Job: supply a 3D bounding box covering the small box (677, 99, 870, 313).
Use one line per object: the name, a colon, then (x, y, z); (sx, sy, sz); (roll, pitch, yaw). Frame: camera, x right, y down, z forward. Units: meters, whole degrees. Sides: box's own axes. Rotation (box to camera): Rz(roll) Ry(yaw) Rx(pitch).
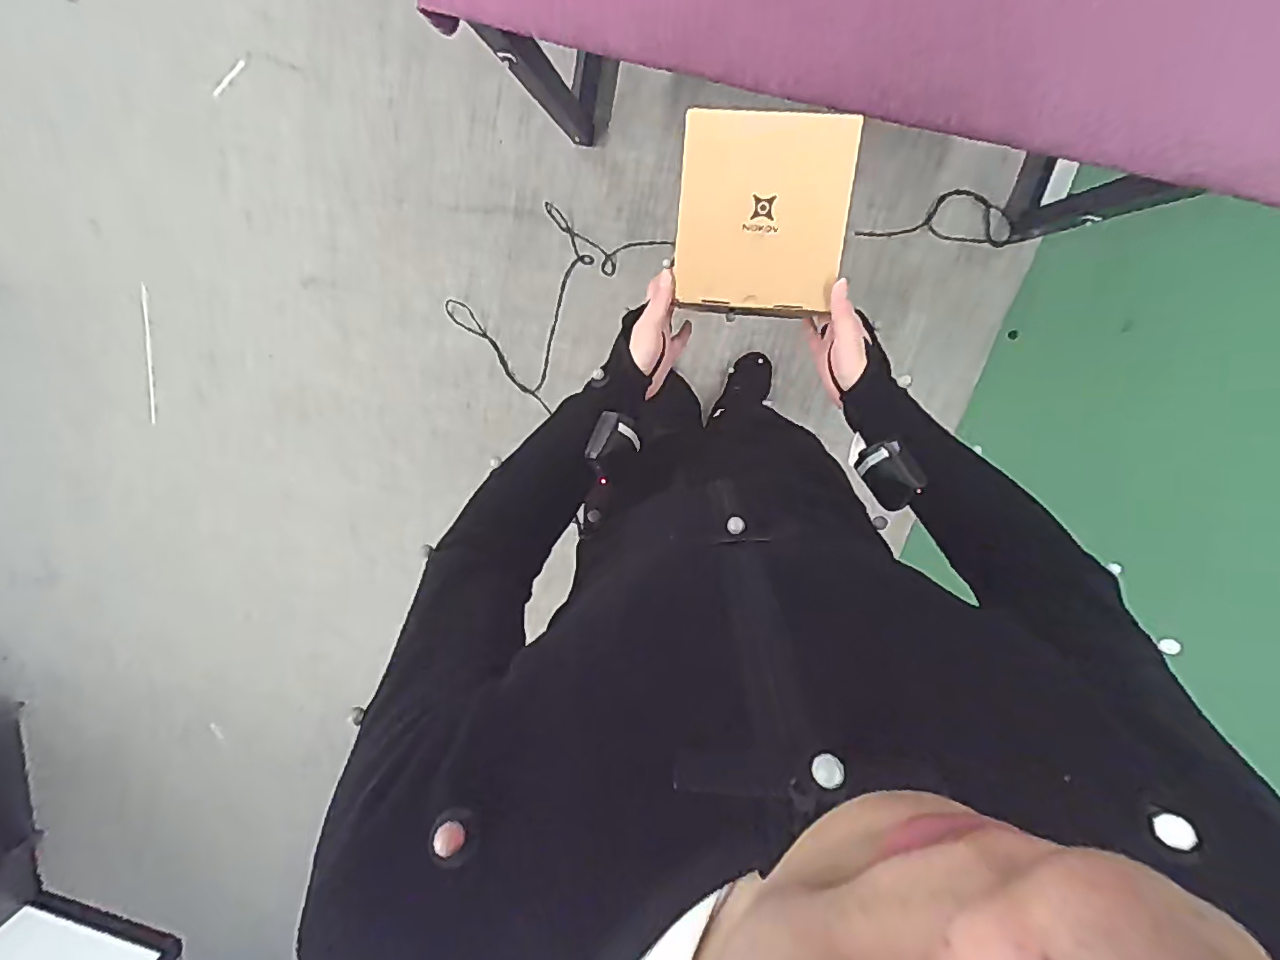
small box: (0.129, -0.283, 0.595); (0.168, 0.176, 0.179); (5, 106, 3)
